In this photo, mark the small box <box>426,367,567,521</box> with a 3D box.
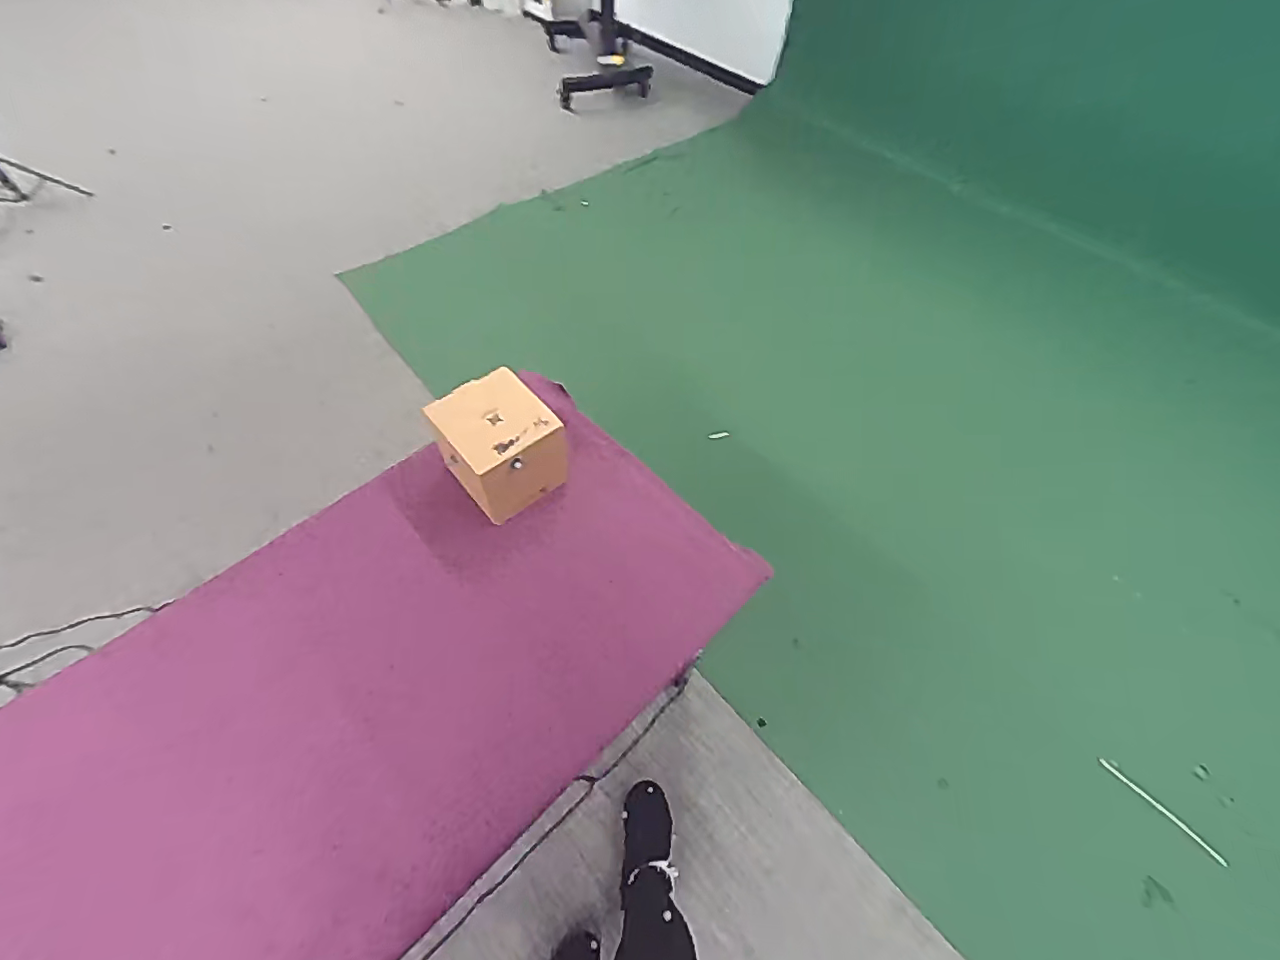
[{"bbox_3d":[-0.246,-0.060,0.963,0.168,0.176,0.179,-35,64,-23],"label":"small box"}]
